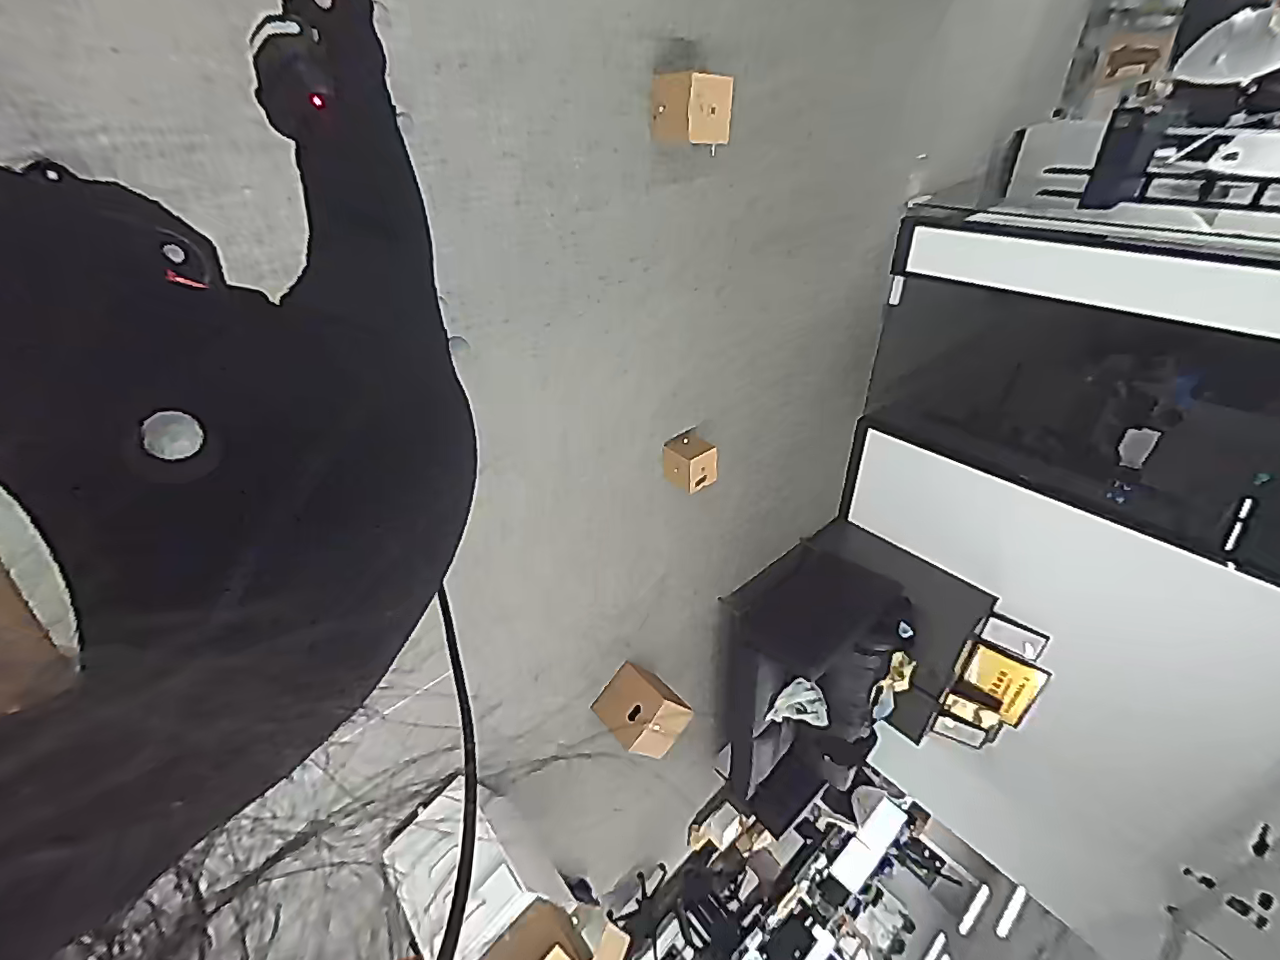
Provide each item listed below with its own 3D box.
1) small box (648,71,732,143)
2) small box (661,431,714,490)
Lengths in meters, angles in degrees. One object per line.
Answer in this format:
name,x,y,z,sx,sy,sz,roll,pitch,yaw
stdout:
small box,0.145,-1.105,1.609,0.179,0.176,0.168,-24,130,-34
small box,0.206,-0.090,2.371,0.168,0.176,0.179,-28,132,-31
